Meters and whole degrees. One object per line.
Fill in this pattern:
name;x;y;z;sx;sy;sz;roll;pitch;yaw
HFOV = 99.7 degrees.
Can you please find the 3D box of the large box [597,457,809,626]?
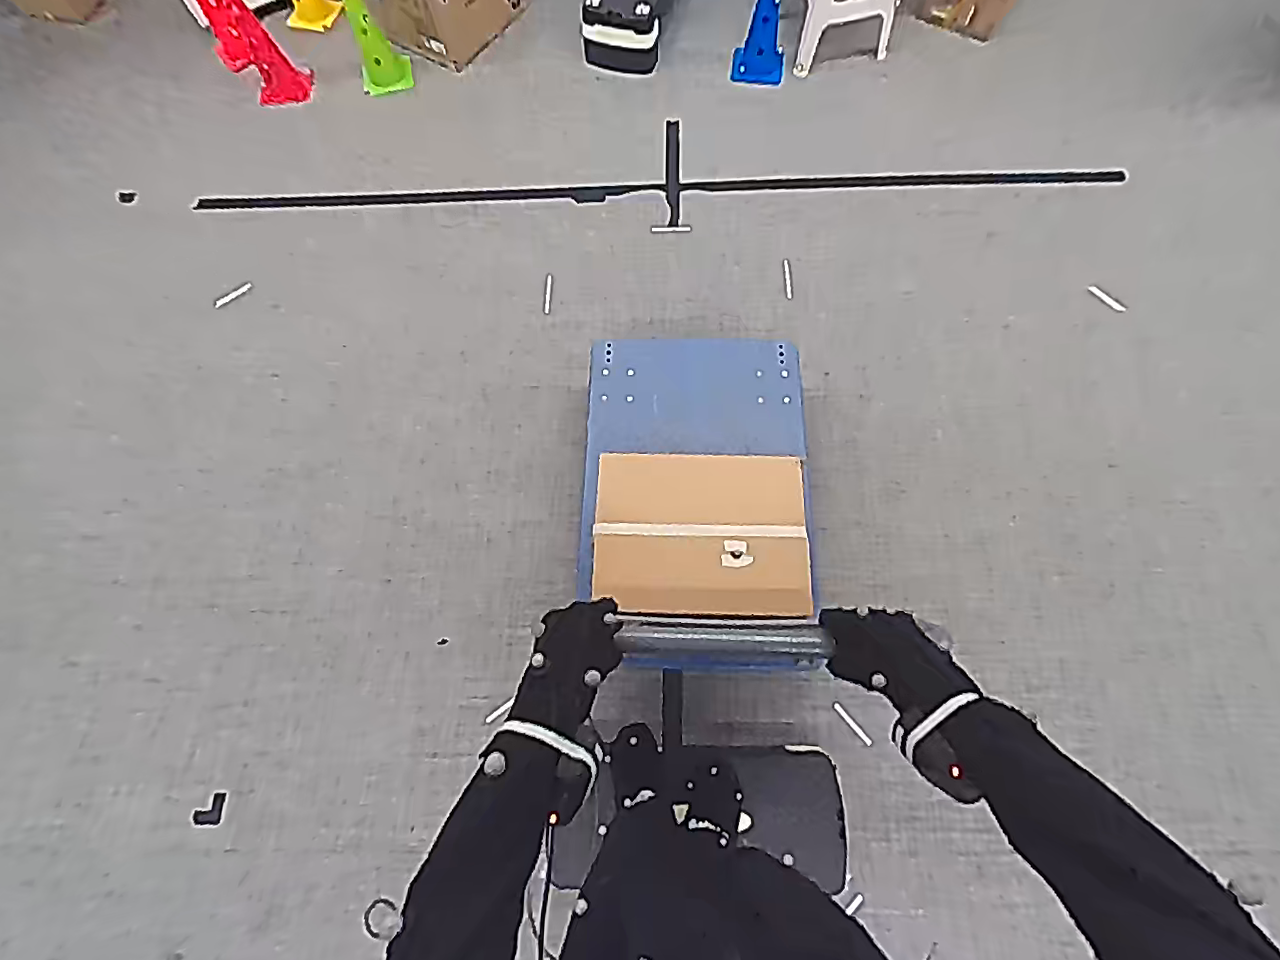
large box;0.117;0.150;1.192;0.408;0.320;0.320;1;71;1
